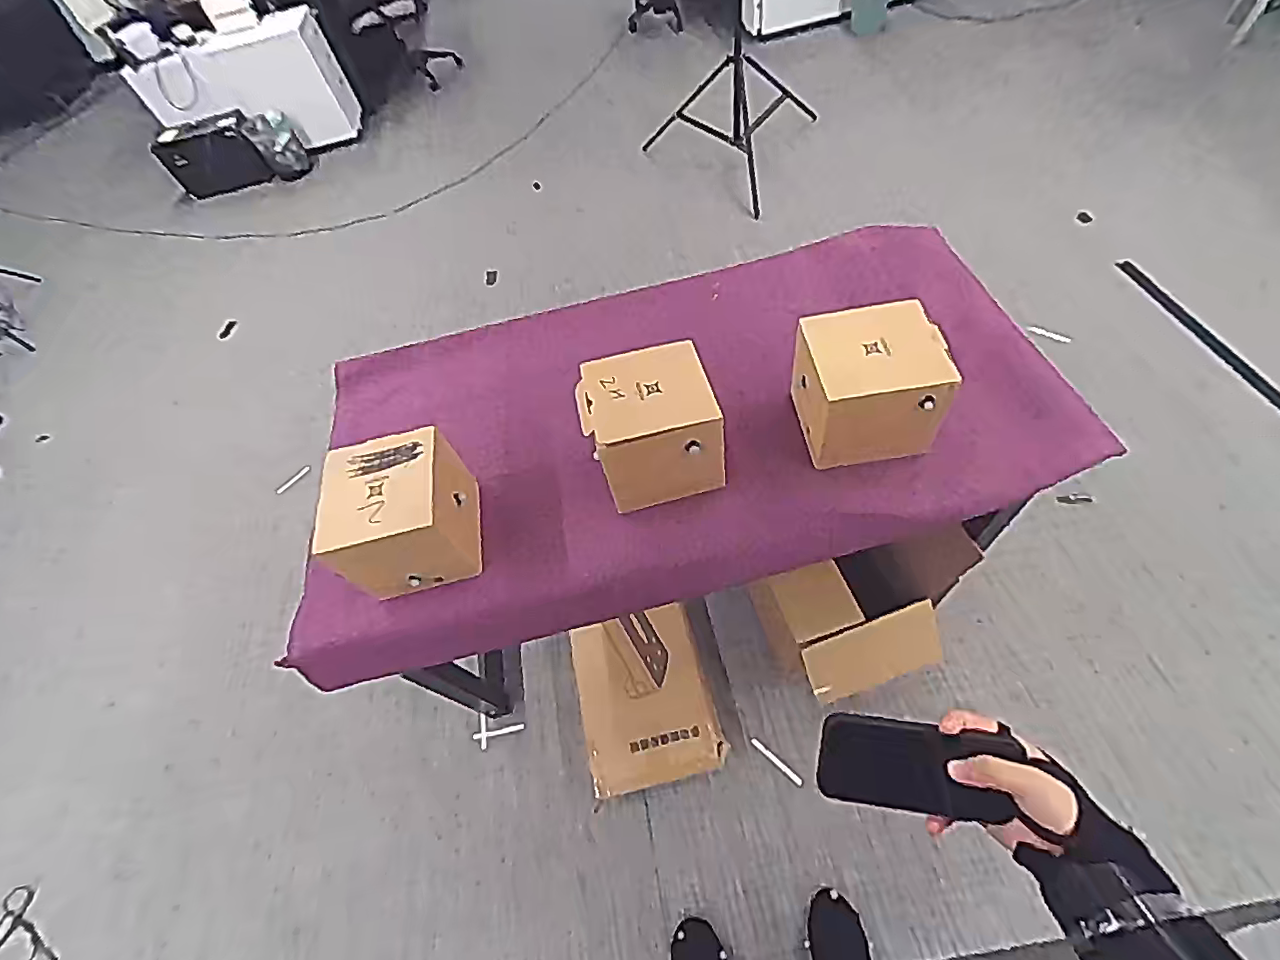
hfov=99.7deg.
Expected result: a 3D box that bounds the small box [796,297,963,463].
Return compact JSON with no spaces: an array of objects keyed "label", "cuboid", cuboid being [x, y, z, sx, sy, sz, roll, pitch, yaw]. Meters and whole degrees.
[{"label":"small box","cuboid":[0.339,-0.141,0.811,0.179,0.176,0.168,-9,56,4]}]

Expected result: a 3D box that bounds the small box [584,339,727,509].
[{"label":"small box","cuboid":[0.026,-0.080,0.825,0.179,0.176,0.168,-15,54,0]}]
